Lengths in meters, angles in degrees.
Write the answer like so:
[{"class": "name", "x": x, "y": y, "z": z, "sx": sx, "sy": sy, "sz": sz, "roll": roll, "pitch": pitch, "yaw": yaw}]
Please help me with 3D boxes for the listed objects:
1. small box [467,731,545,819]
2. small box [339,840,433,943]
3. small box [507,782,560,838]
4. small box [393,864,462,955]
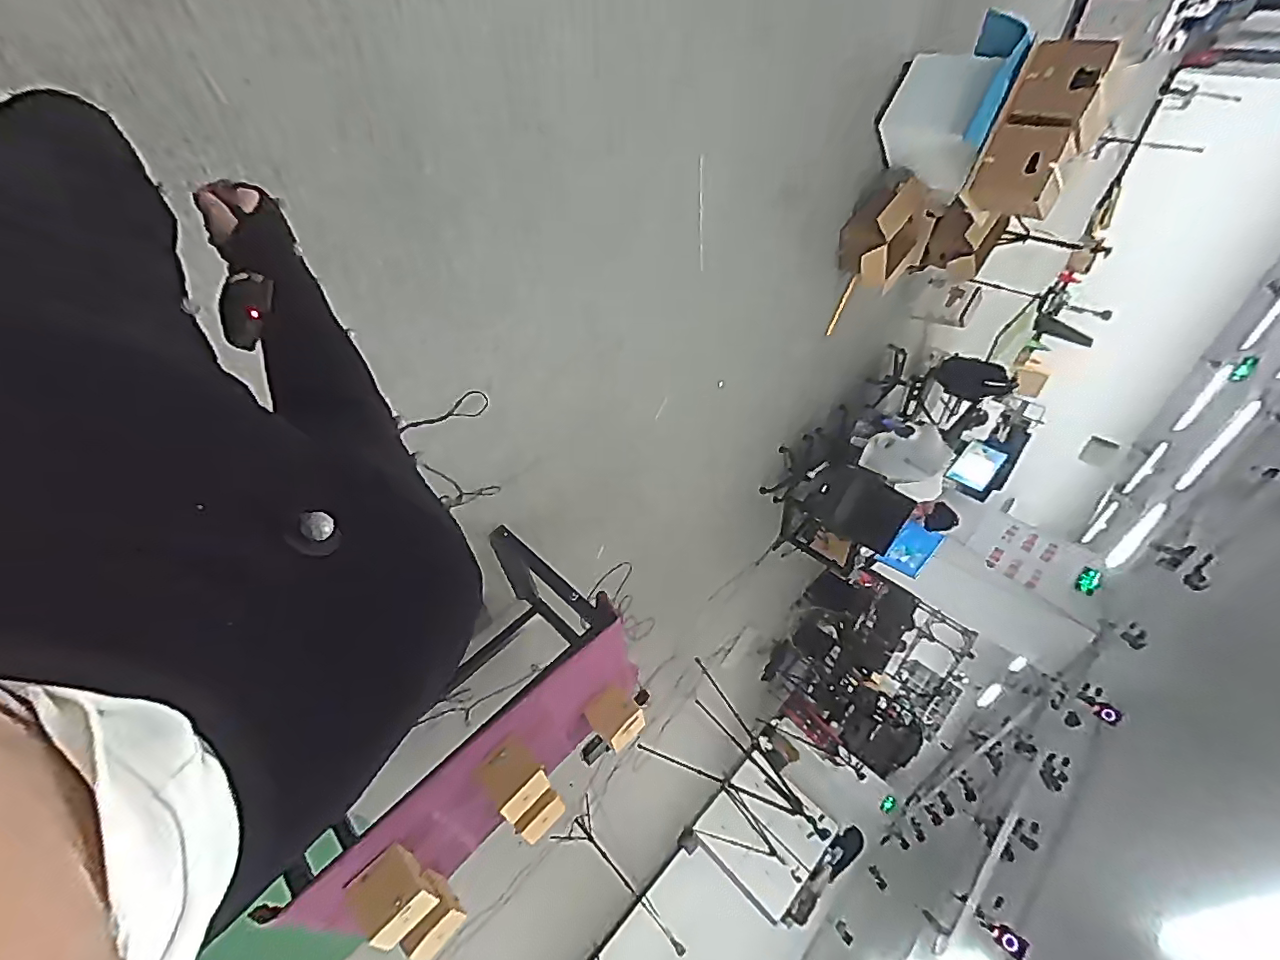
[{"class": "small box", "x": -0.440, "y": 0.969, "z": 1.786, "sx": 0.168, "sy": 0.176, "sz": 0.179, "roll": -38, "pitch": 145, "yaw": -29}, {"class": "small box", "x": -0.739, "y": 1.199, "z": 1.580, "sx": 0.168, "sy": 0.176, "sz": 0.179, "roll": -37, "pitch": 147, "yaw": -31}, {"class": "small box", "x": -0.425, "y": 1.175, "z": 1.999, "sx": 0.168, "sy": 0.176, "sz": 0.179, "roll": -38, "pitch": 143, "yaw": -26}, {"class": "small box", "x": -0.729, "y": 1.427, "z": 1.800, "sx": 0.168, "sy": 0.176, "sz": 0.179, "roll": -41, "pitch": 145, "yaw": -29}]
